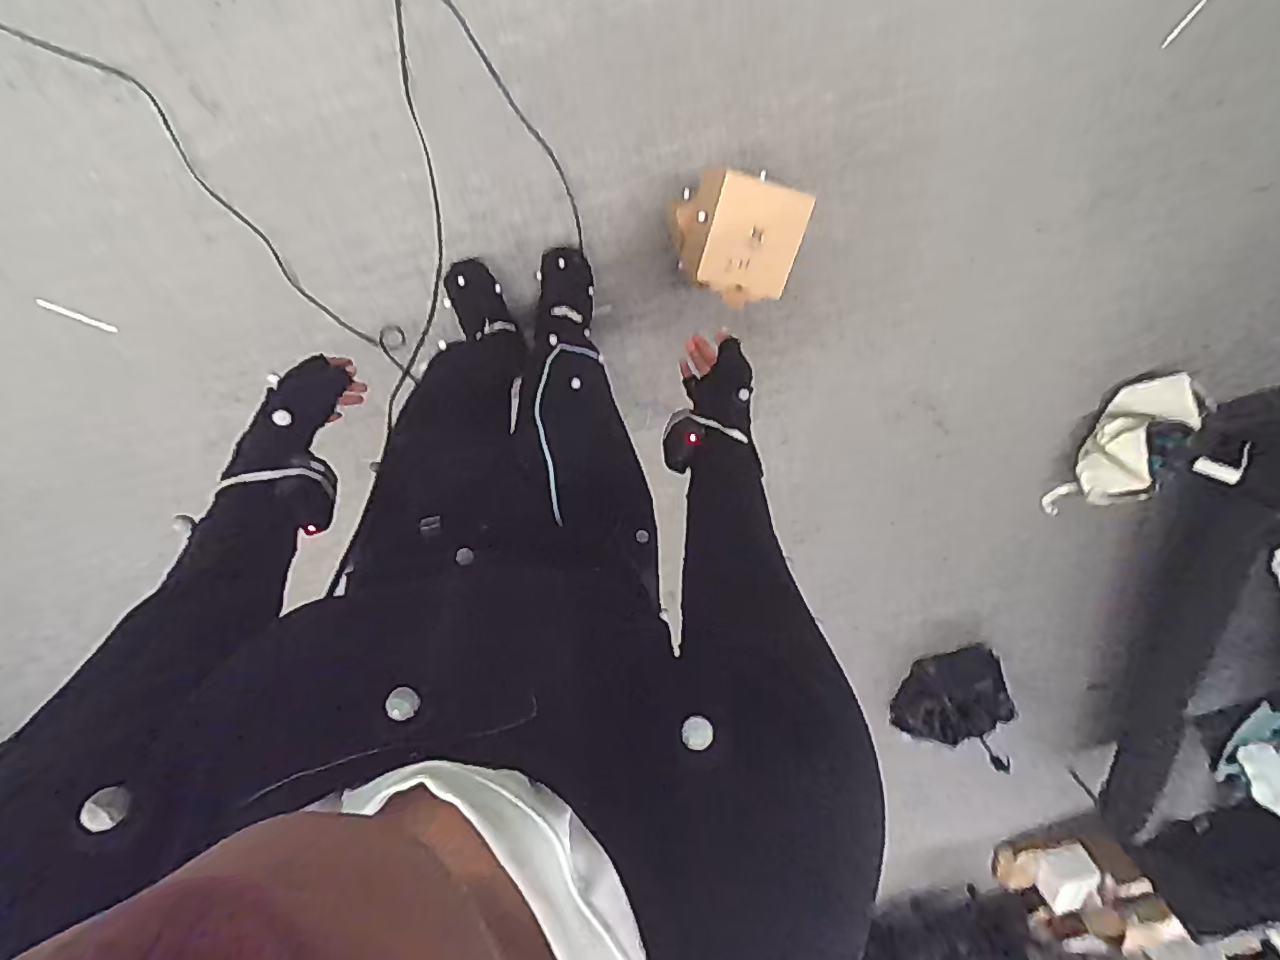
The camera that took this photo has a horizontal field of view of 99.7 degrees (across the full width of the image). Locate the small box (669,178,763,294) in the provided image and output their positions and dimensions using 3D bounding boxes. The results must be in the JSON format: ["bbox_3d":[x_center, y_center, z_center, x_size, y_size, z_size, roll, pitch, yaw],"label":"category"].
[{"bbox_3d":[0.168,-0.517,1.138,0.179,0.176,0.168,-21,122,4],"label":"small box"}]

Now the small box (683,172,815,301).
[{"bbox_3d":[0.189,-0.455,1.004,0.168,0.176,0.179,9,120,-13],"label":"small box"}]
